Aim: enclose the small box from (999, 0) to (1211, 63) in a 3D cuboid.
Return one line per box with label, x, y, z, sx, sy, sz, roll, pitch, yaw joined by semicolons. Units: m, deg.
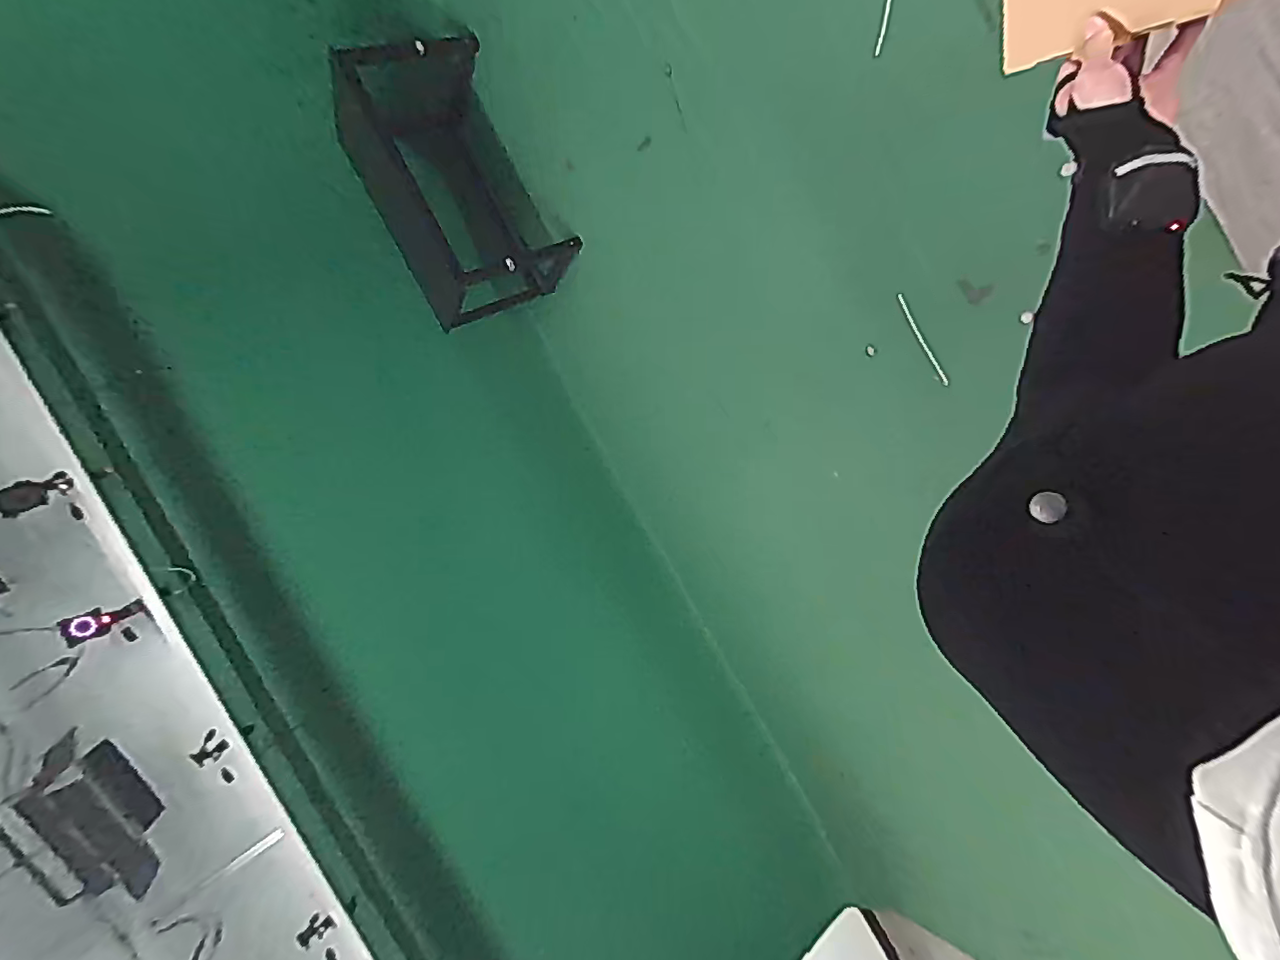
small box;0.454;-0.520;0.481;0.168;0.176;0.179;27;145;52
